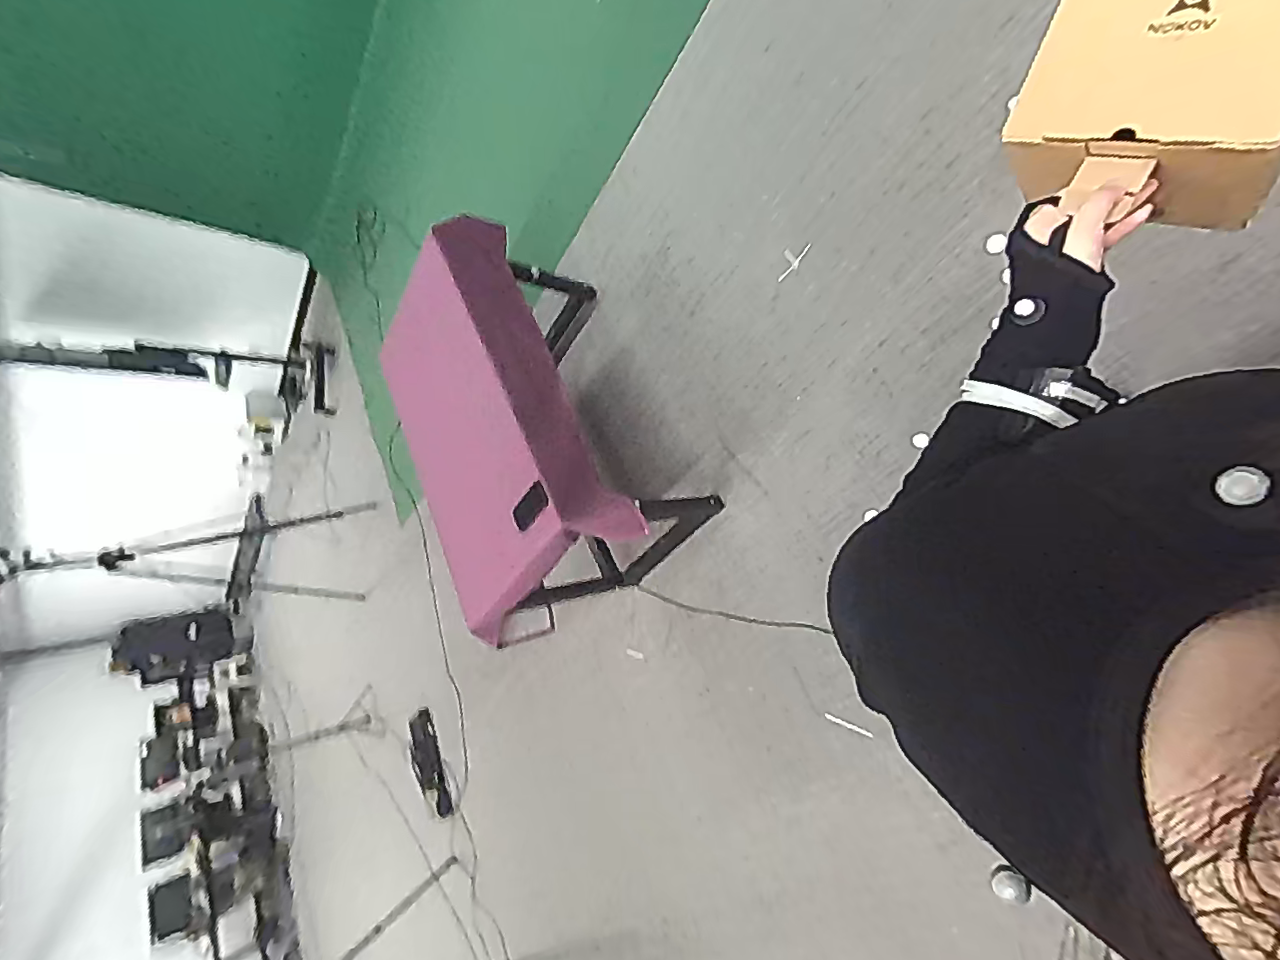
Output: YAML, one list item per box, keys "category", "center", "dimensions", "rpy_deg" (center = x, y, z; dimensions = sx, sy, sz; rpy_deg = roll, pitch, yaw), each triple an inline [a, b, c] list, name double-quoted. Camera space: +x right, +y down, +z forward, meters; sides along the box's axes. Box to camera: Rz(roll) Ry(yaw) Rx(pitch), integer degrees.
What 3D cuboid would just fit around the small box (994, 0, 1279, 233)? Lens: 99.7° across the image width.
- category: "small box"
  center: [0.425, -0.324, 0.435]
  dimensions: [0.168, 0.176, 0.179]
  rpy_deg: [31, 112, 37]
